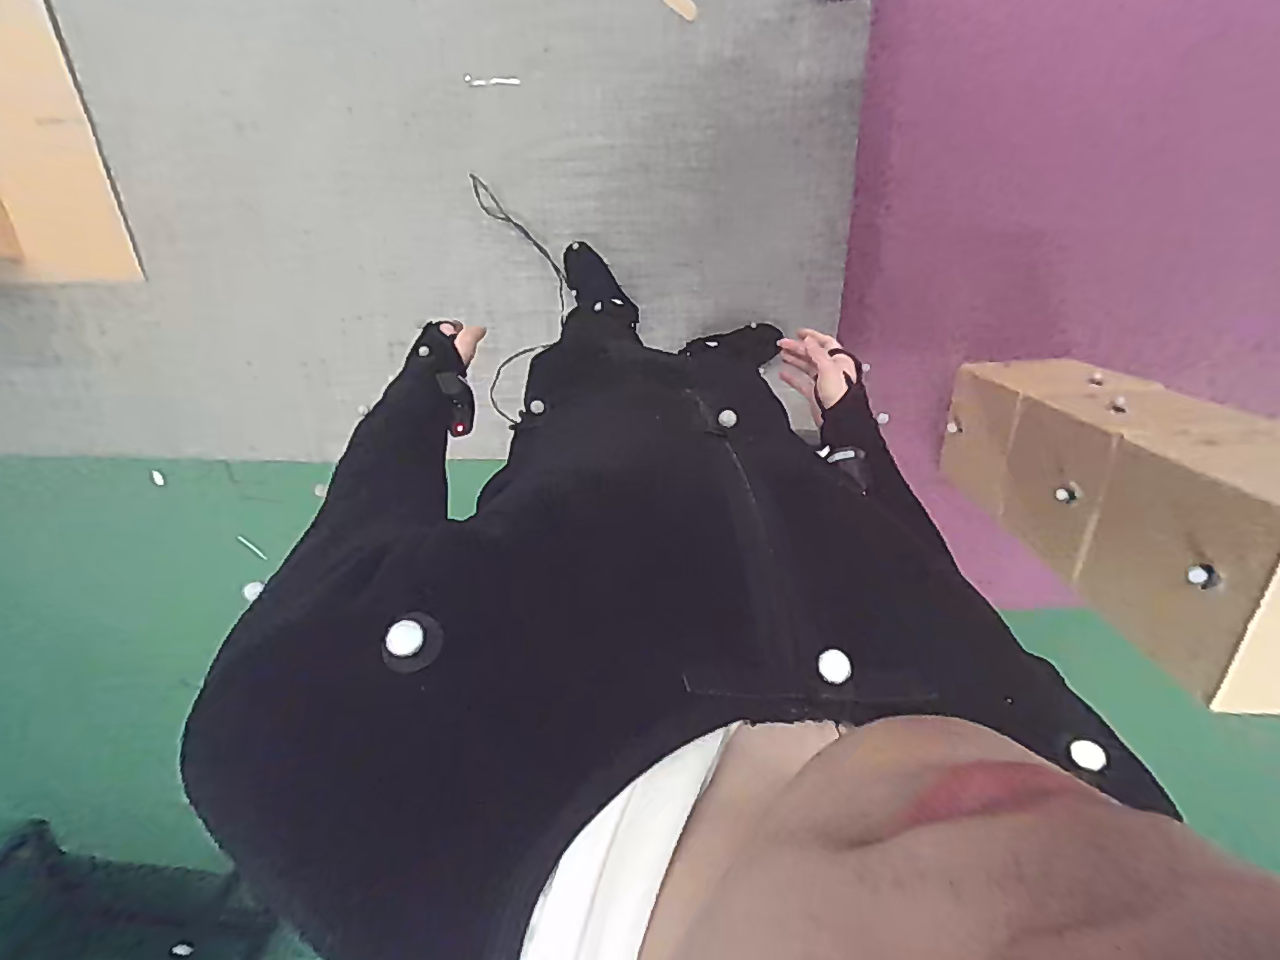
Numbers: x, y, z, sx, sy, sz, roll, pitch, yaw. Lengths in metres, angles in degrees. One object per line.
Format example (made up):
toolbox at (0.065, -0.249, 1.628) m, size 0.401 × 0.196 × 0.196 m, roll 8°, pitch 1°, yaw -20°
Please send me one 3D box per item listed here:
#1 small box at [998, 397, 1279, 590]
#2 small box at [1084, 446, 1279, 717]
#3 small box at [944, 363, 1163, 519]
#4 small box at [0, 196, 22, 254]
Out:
small box at (0.544, 0.007, 0.611) m, size 0.168 × 0.176 × 0.179 m, roll 0°, pitch 113°, yaw 5°
small box at (0.533, 0.074, 0.462) m, size 0.168 × 0.176 × 0.179 m, roll 0°, pitch 113°, yaw 6°
small box at (0.556, -0.059, 0.760) m, size 0.168 × 0.176 × 0.179 m, roll -1°, pitch 114°, yaw 5°
small box at (-1.864, -0.709, 1.460) m, size 0.168 × 0.176 × 0.179 m, roll 3°, pitch 113°, yaw 4°
